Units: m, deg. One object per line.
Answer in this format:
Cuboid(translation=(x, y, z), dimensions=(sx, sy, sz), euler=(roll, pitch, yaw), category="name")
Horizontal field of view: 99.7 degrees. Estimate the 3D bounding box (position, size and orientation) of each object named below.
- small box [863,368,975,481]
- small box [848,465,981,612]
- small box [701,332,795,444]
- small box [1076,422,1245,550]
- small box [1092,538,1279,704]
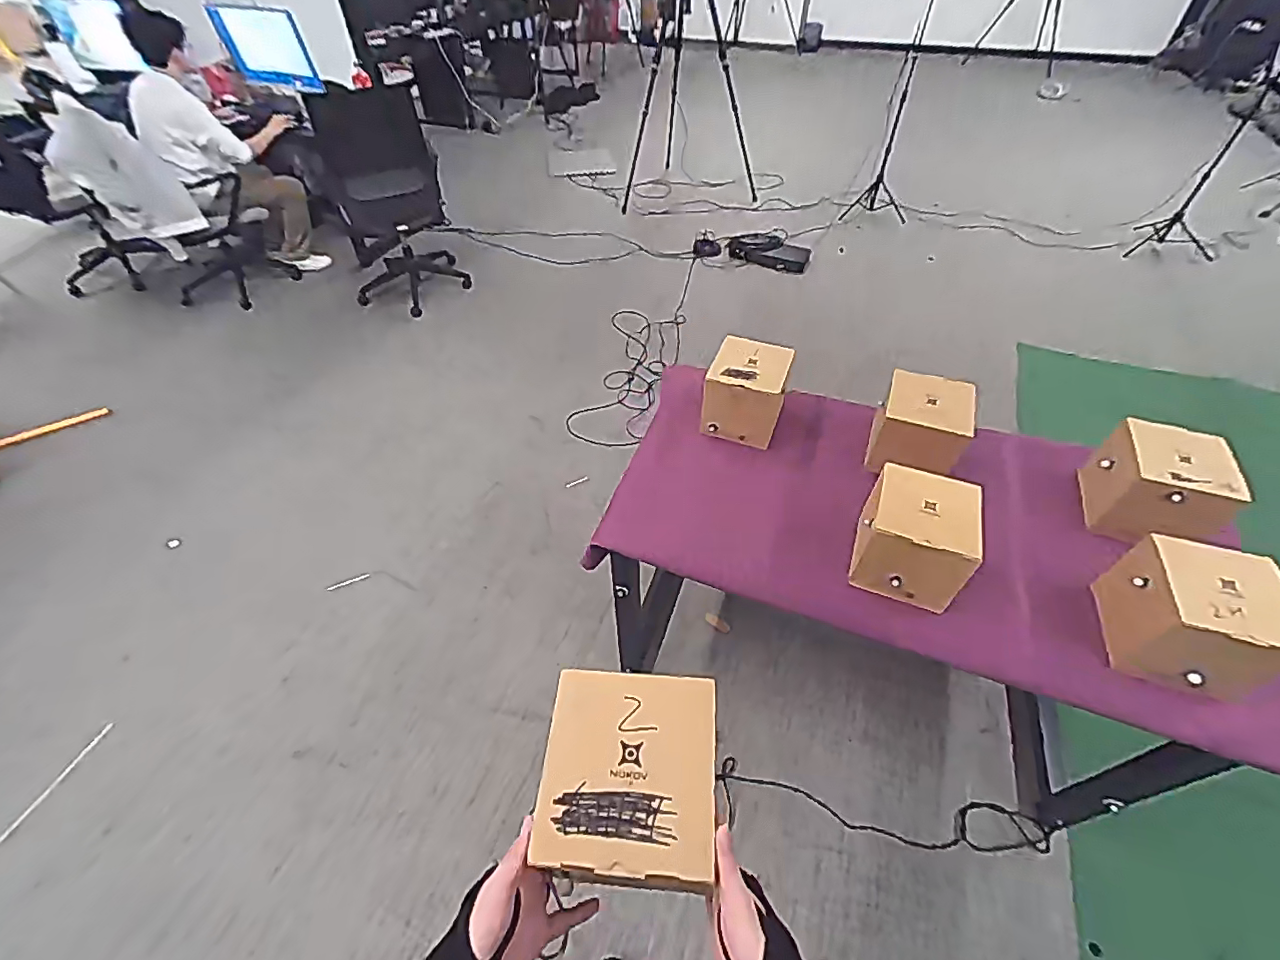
Cuboid(translation=(0.601, -0.110, 1.177), dimensions=(0.168, 0.176, 0.179), euler=(18, 52, 16), category="small box")
Cuboid(translation=(0.495, 0.107, 0.987), dimensions=(0.168, 0.176, 0.179), euler=(18, 51, 14), category="small box")
Cuboid(translation=(0.245, -0.210, 1.255), dimensions=(0.168, 0.176, 0.179), euler=(18, 52, 13), category="small box")
Cuboid(translation=(1.002, 0.019, 1.065), dimensions=(0.168, 0.176, 0.179), euler=(17, 51, 15), category="small box")
Cuboid(translation=(0.881, 0.229, 0.879), dimensions=(0.168, 0.176, 0.179), euler=(15, 51, 14), category="small box")
